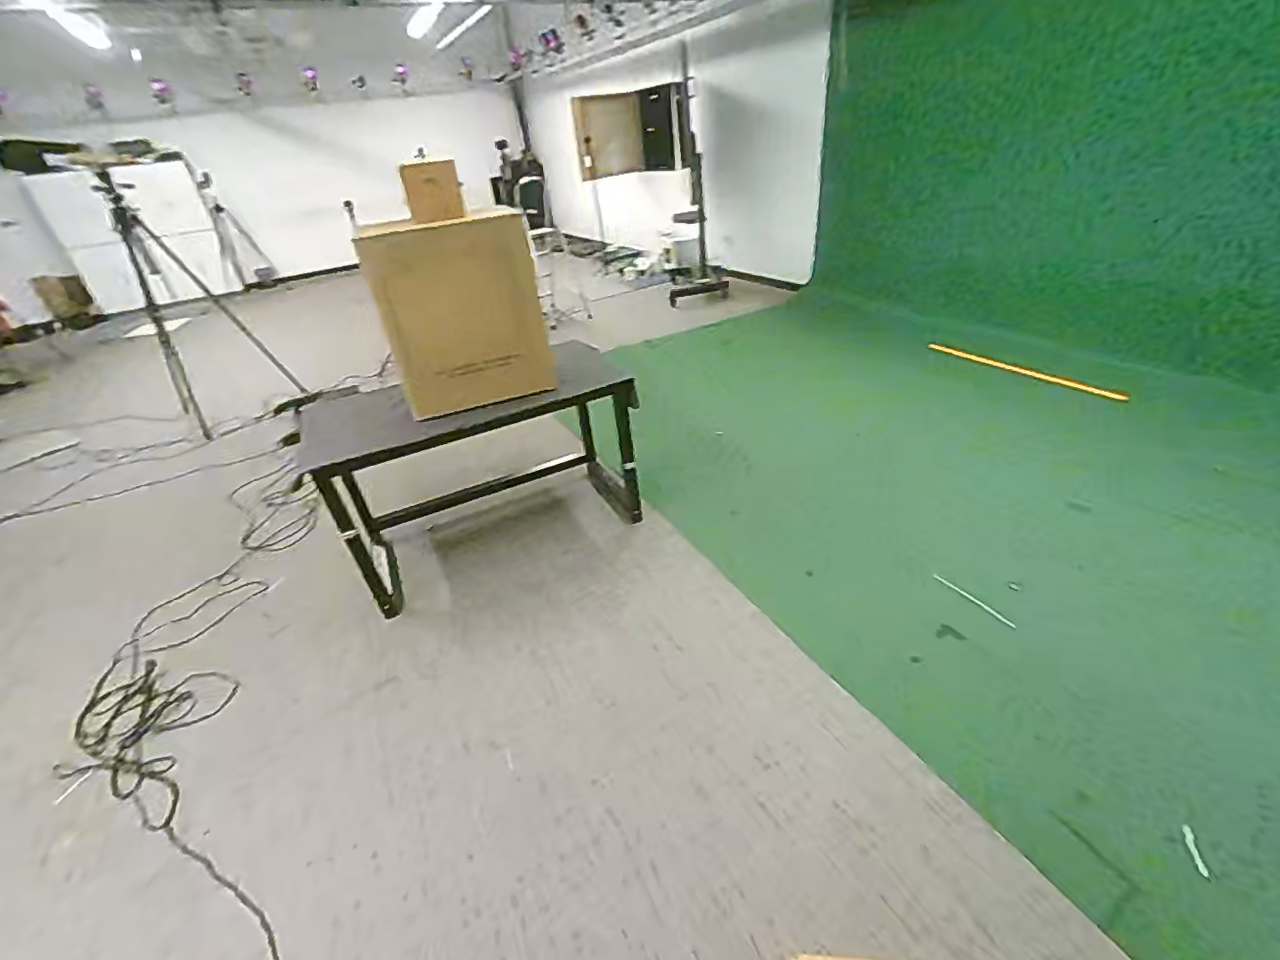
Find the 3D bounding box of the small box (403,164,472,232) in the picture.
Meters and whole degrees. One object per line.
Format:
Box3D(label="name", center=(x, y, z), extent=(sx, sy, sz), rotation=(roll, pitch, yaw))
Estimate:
Box3D(label="small box", center=(-0.656, -0.922, 1.764), extent=(0.179, 0.176, 0.168), rotation=(-16, 36, -14))
